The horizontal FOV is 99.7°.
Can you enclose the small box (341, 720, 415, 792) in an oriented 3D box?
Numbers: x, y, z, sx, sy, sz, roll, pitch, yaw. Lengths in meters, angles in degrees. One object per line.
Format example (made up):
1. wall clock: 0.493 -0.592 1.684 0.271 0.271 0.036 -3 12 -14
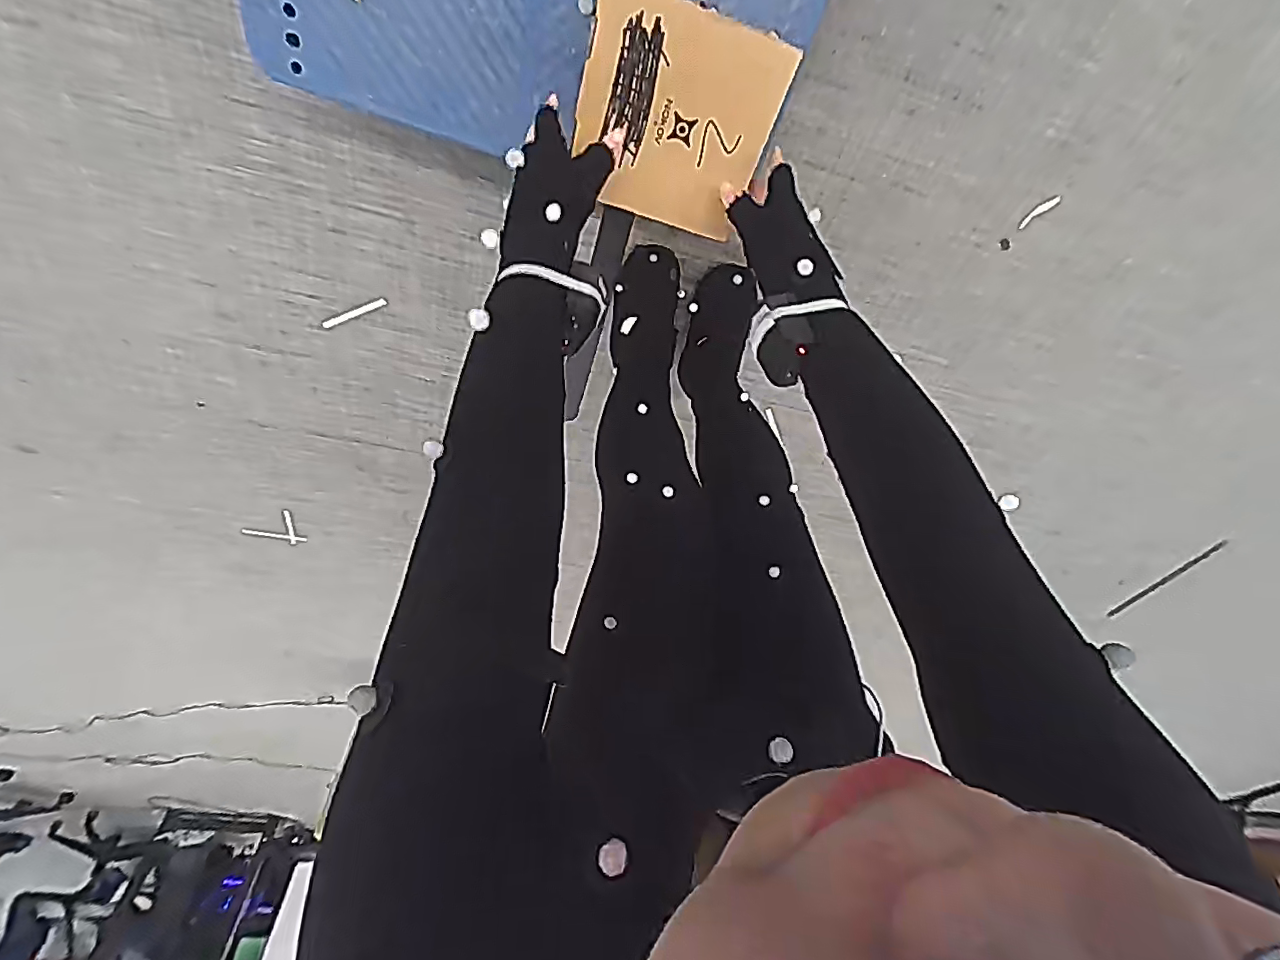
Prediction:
1. small box: -0.875 0.932 1.823 0.168 0.176 0.179 5 132 -6
